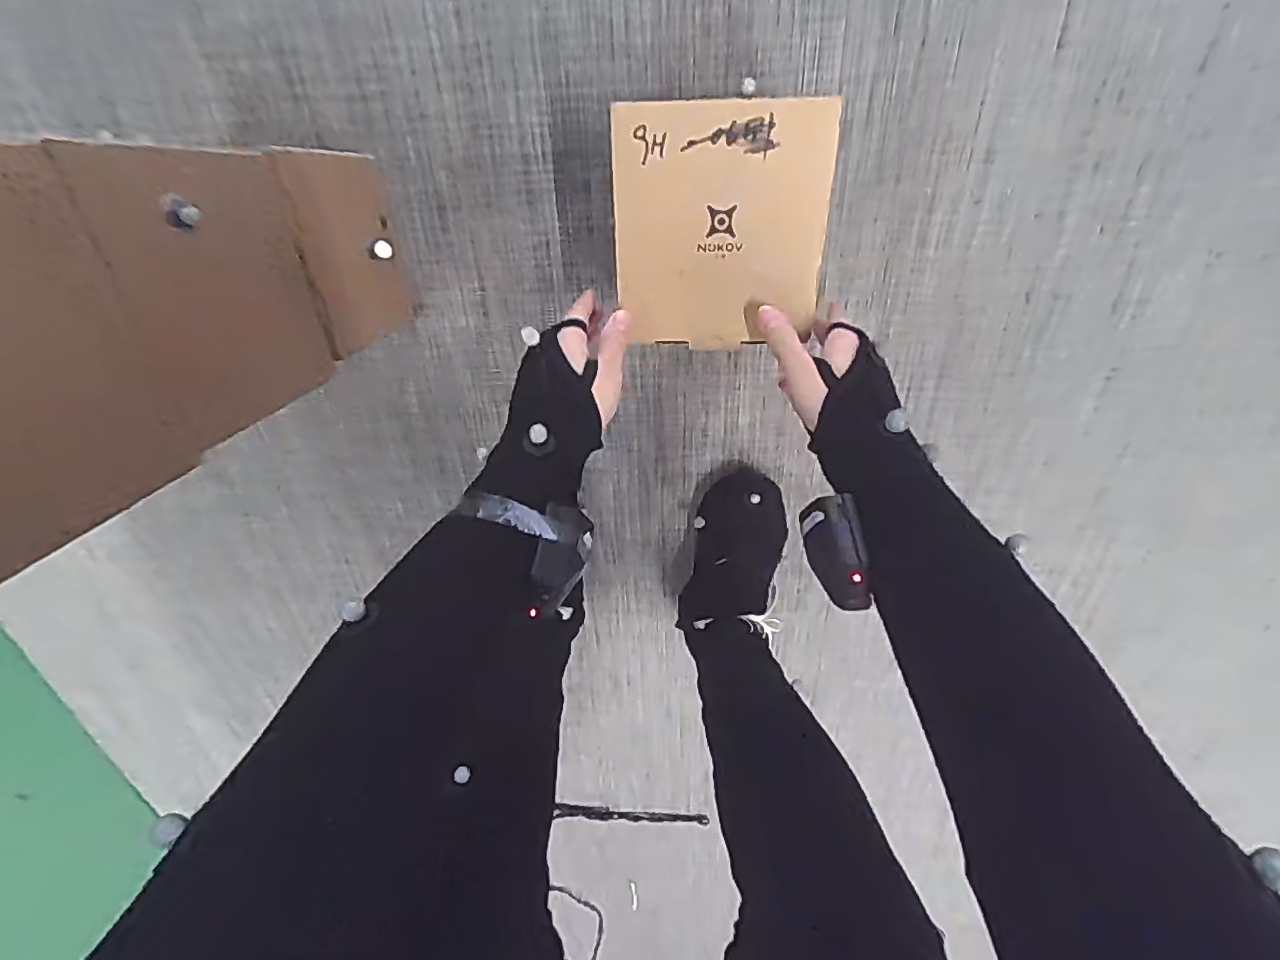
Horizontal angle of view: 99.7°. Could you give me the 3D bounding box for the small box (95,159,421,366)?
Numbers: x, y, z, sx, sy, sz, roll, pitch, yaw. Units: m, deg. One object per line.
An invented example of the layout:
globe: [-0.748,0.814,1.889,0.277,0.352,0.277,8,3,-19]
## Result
small box: [-0.349,-0.216,0.538,0.179,0.176,0.168,-2,118,2]

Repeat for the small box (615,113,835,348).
small box: [0.067,-0.233,0.510,0.168,0.176,0.179,0,119,2]
